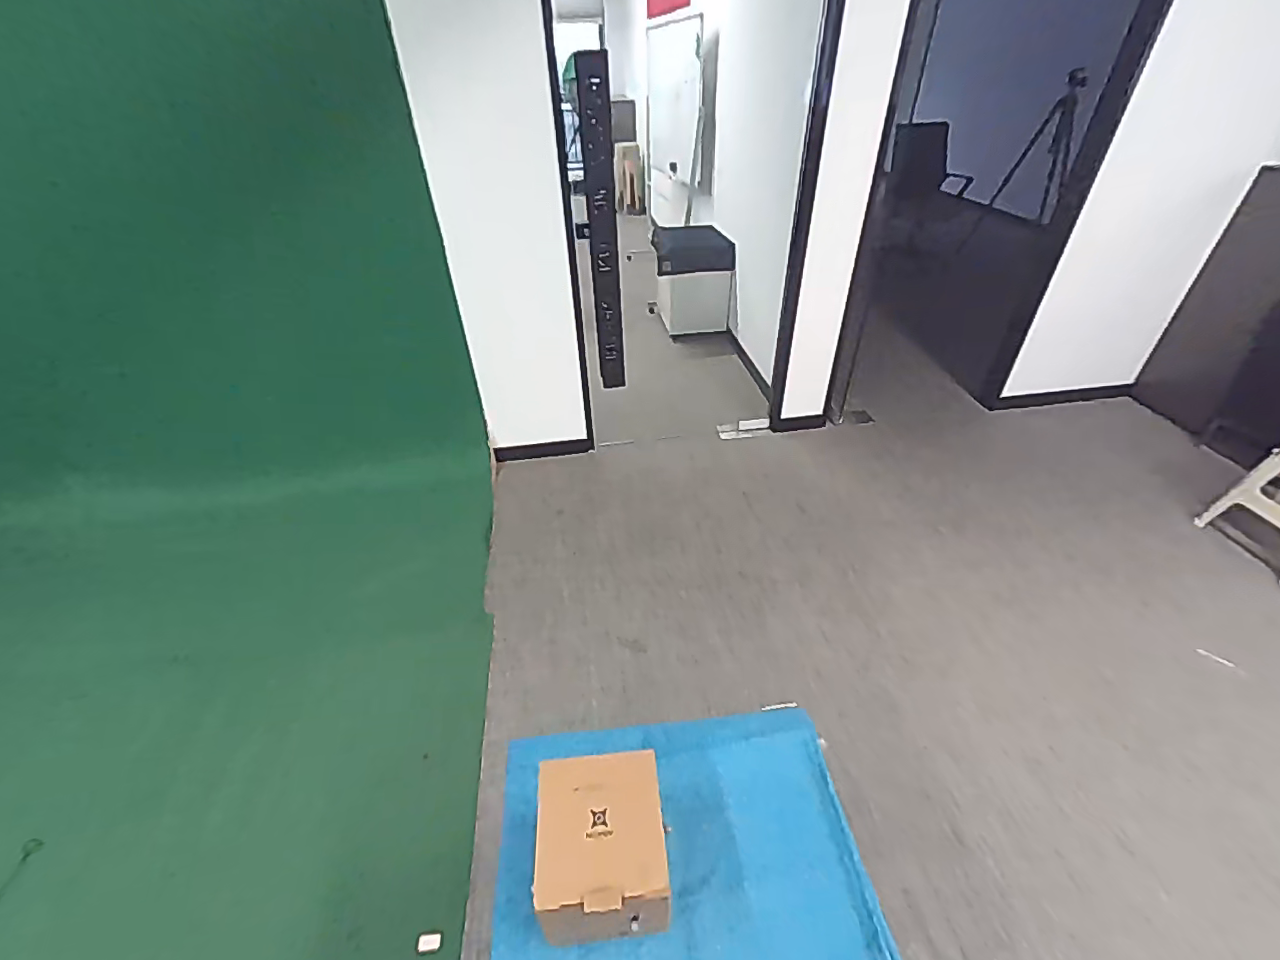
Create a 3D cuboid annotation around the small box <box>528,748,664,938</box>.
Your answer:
[{"bbox_3d":[-0.055,0.502,0.747,0.168,0.176,0.179,-3,37,-4],"label":"small box"}]
